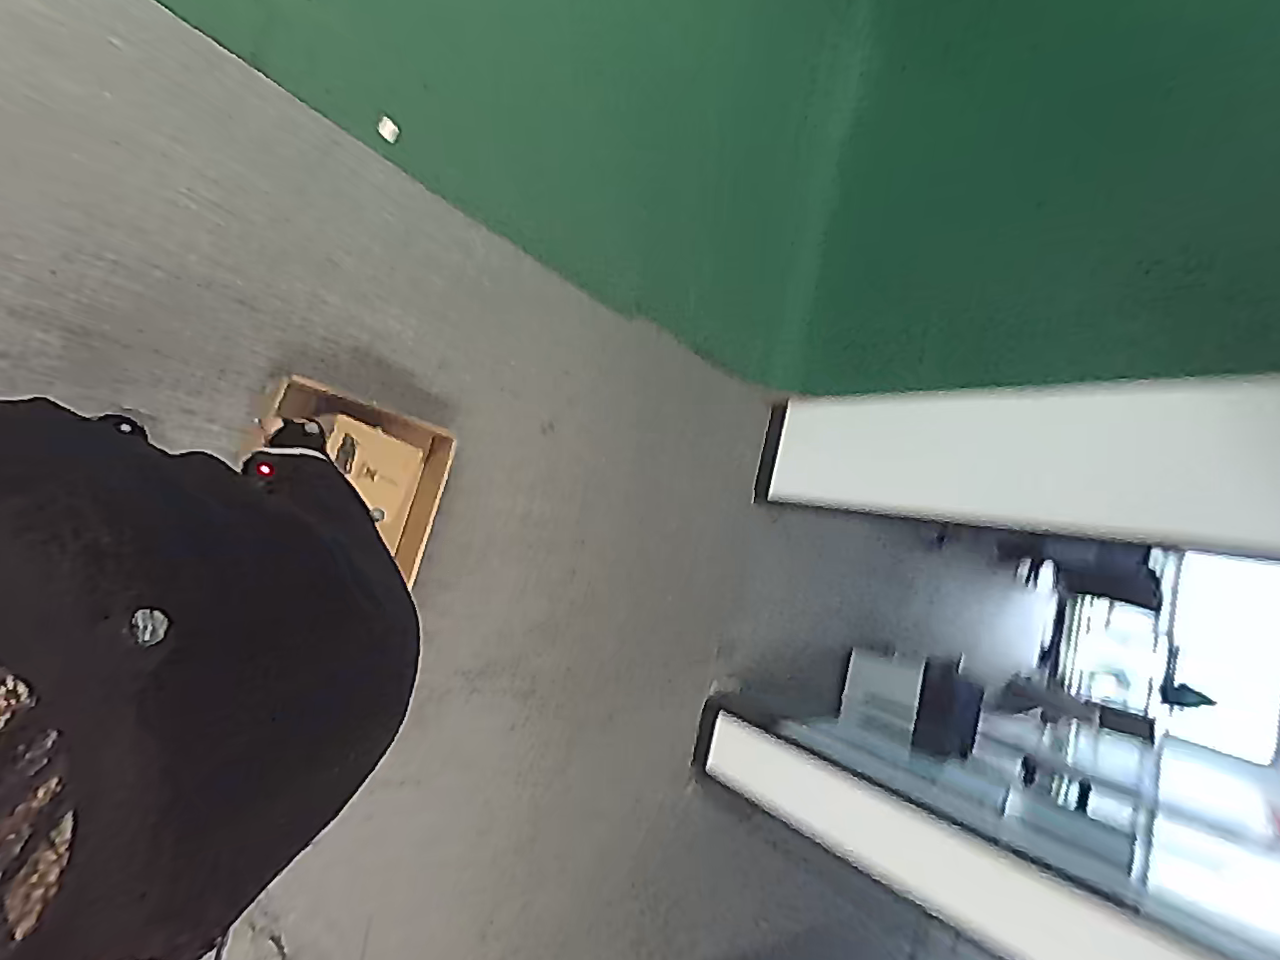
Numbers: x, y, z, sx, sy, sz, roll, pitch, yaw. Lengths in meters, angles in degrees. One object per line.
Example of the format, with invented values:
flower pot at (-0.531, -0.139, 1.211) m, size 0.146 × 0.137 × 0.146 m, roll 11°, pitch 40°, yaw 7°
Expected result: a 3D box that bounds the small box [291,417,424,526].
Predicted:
small box at (-0.591, -0.017, 1.124) m, size 0.179 × 0.176 × 0.168 m, roll 31°, pitch 75°, yaw -40°
